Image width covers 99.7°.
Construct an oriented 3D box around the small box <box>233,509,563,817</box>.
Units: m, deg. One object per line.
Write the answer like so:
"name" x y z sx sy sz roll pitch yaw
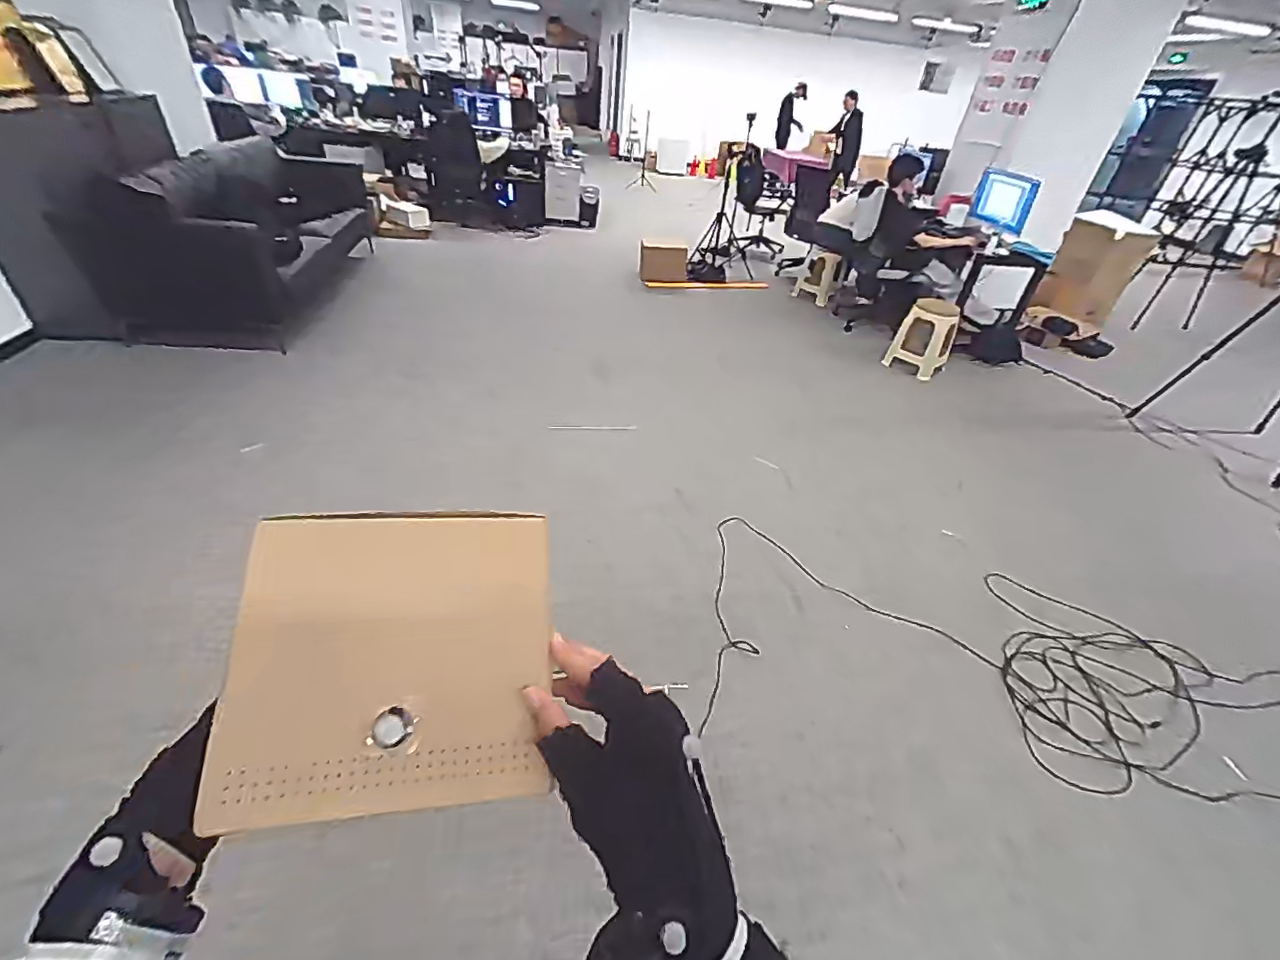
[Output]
"small box" -0.150 0.129 0.395 0.179 0.168 0.176 1 64 -14
